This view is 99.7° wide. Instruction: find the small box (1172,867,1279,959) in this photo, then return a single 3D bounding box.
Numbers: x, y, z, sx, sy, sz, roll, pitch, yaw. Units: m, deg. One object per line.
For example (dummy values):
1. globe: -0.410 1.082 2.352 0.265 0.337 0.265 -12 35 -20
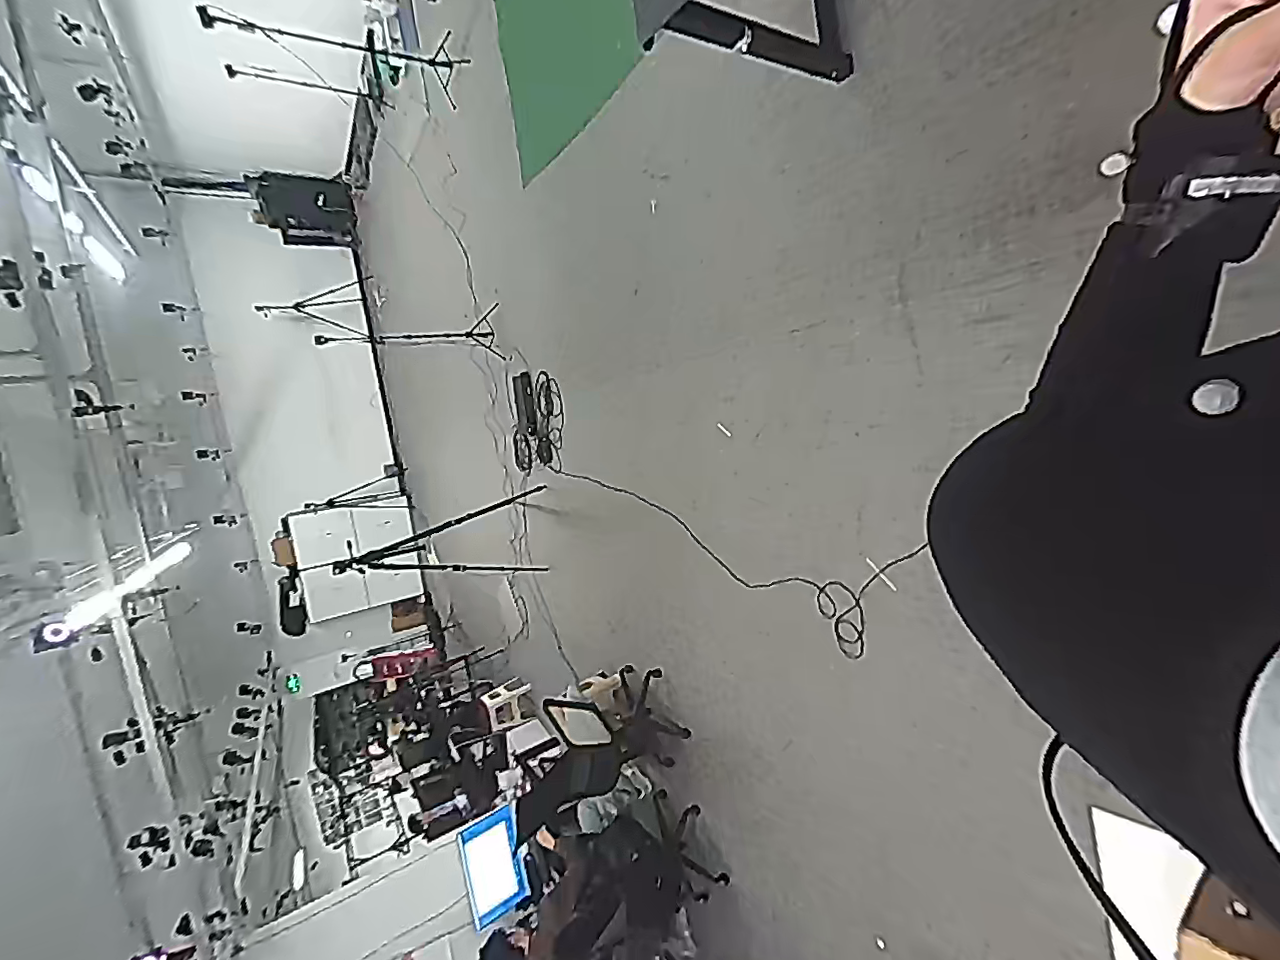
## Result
1. small box: 0.815 0.650 0.685 0.168 0.176 0.179 -2 100 59
